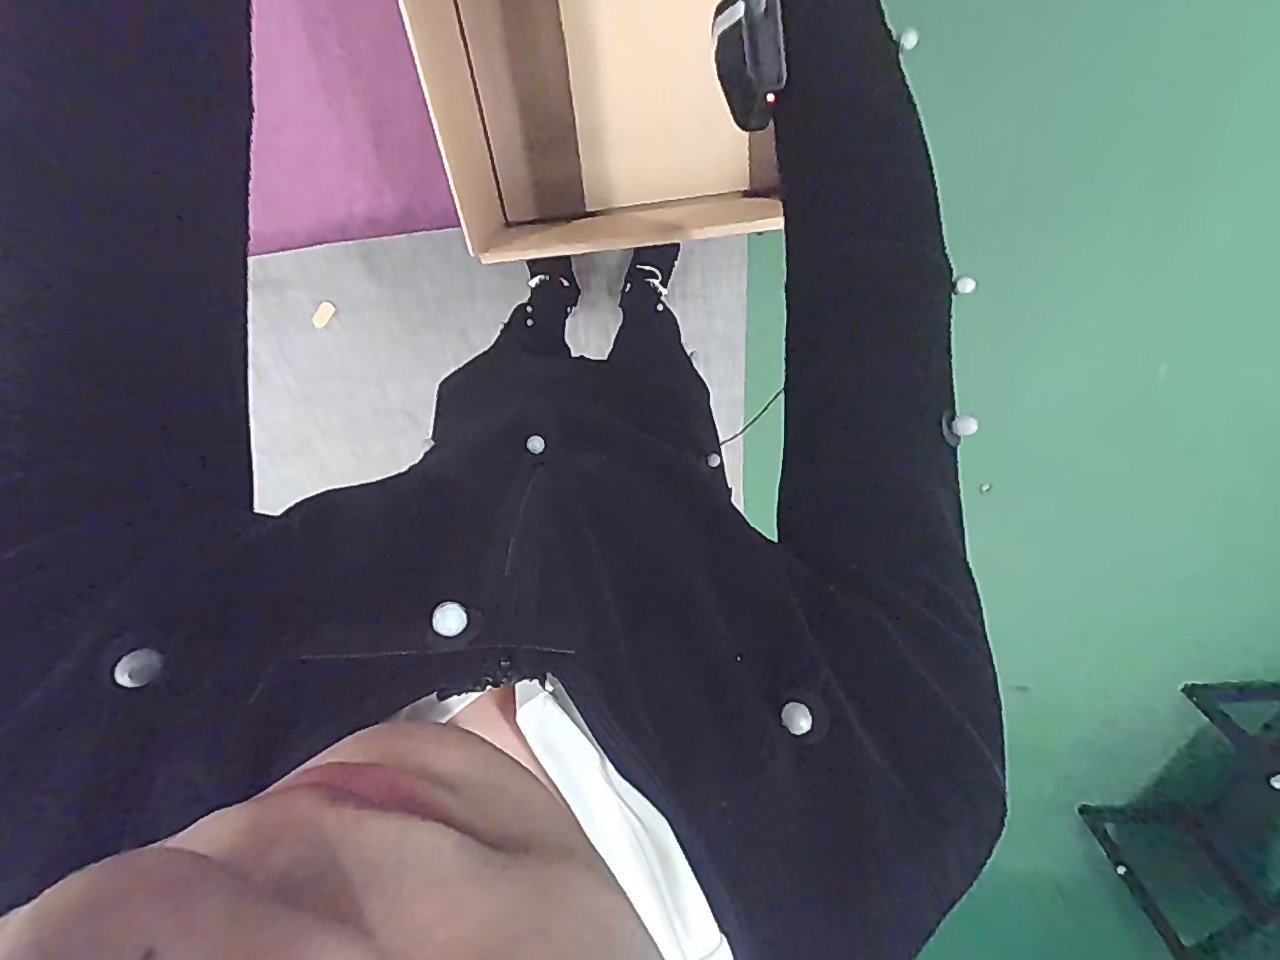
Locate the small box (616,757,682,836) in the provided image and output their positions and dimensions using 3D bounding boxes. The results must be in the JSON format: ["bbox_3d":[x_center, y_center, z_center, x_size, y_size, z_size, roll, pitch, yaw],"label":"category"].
[{"bbox_3d":[0.032,1.118,1.912,0.179,0.176,0.168,-30,120,17],"label":"small box"}]
